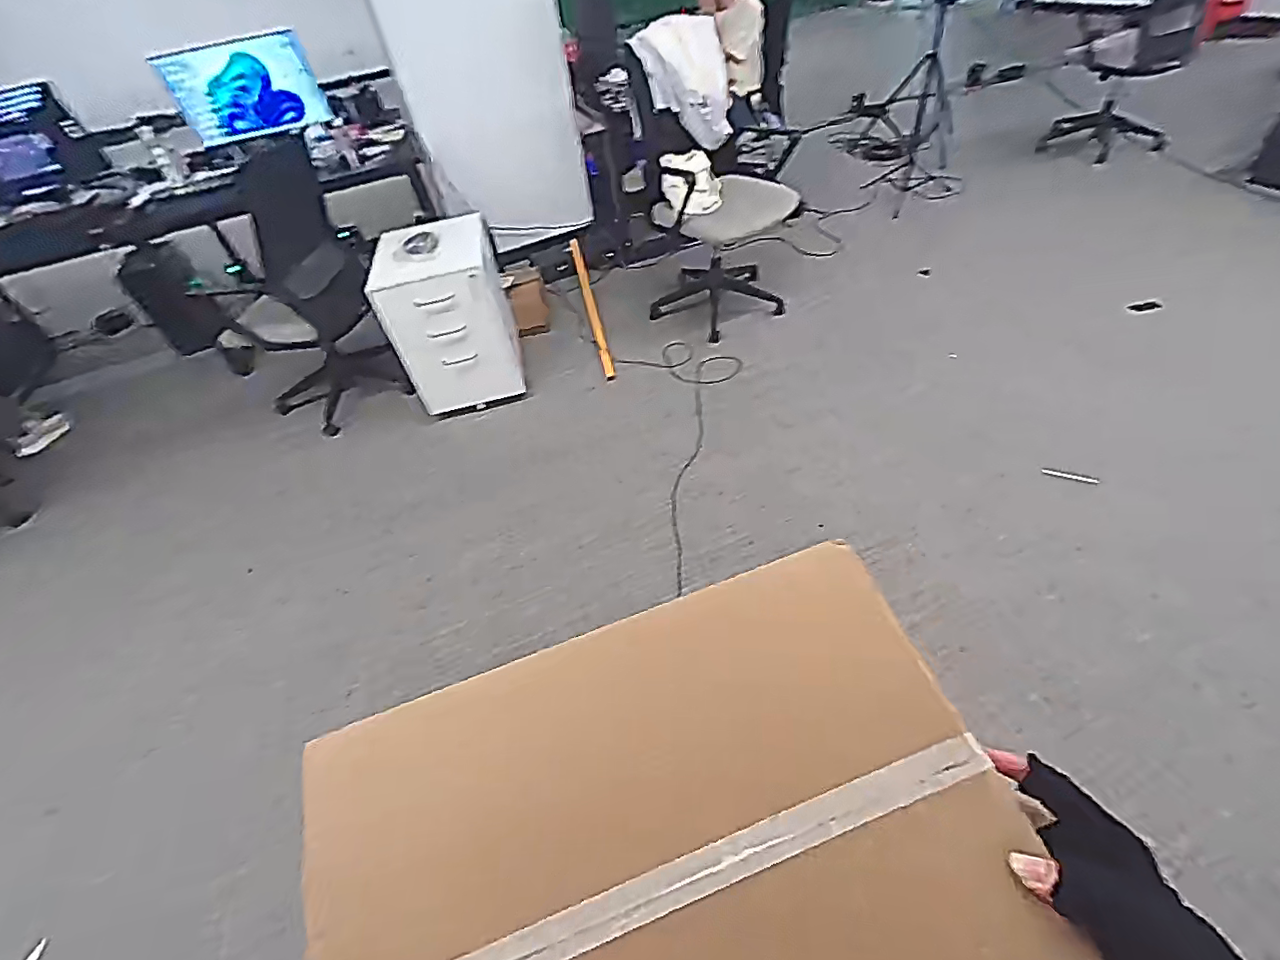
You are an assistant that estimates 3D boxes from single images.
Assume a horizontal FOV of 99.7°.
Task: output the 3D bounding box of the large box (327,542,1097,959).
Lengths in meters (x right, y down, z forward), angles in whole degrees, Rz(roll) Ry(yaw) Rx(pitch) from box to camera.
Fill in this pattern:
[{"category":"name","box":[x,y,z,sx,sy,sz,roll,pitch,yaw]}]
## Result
[{"category":"large box","box":[0.030,0.313,0.446,0.408,0.320,0.320,-20,59,-6]}]
